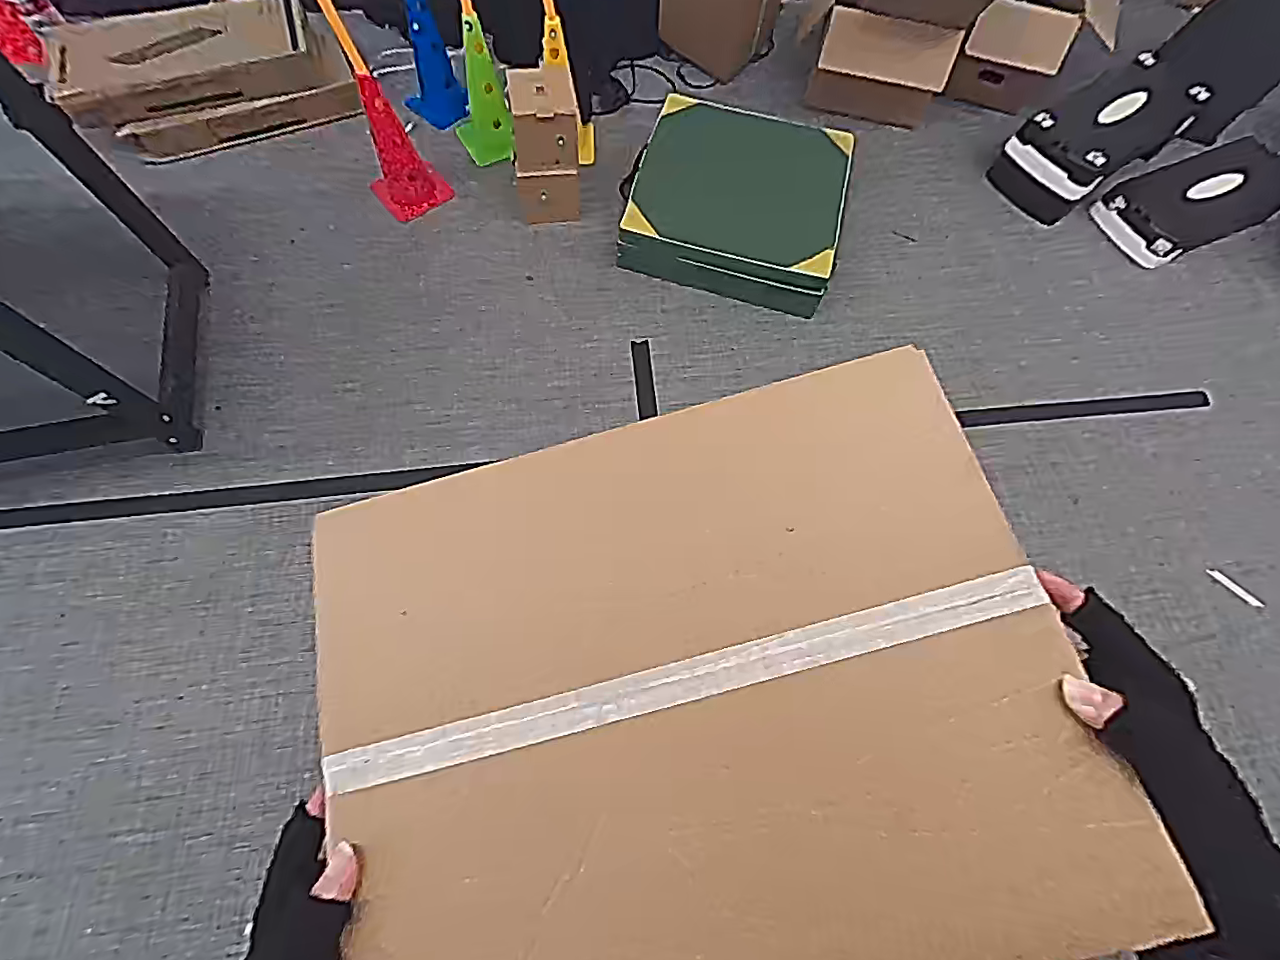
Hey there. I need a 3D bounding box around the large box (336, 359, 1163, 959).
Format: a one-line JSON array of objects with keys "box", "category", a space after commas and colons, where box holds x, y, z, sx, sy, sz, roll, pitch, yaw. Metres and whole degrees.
[{"box": [0.042, 0.158, 0.448, 0.408, 0.320, 0.320, -16, 70, 3], "category": "large box"}]
